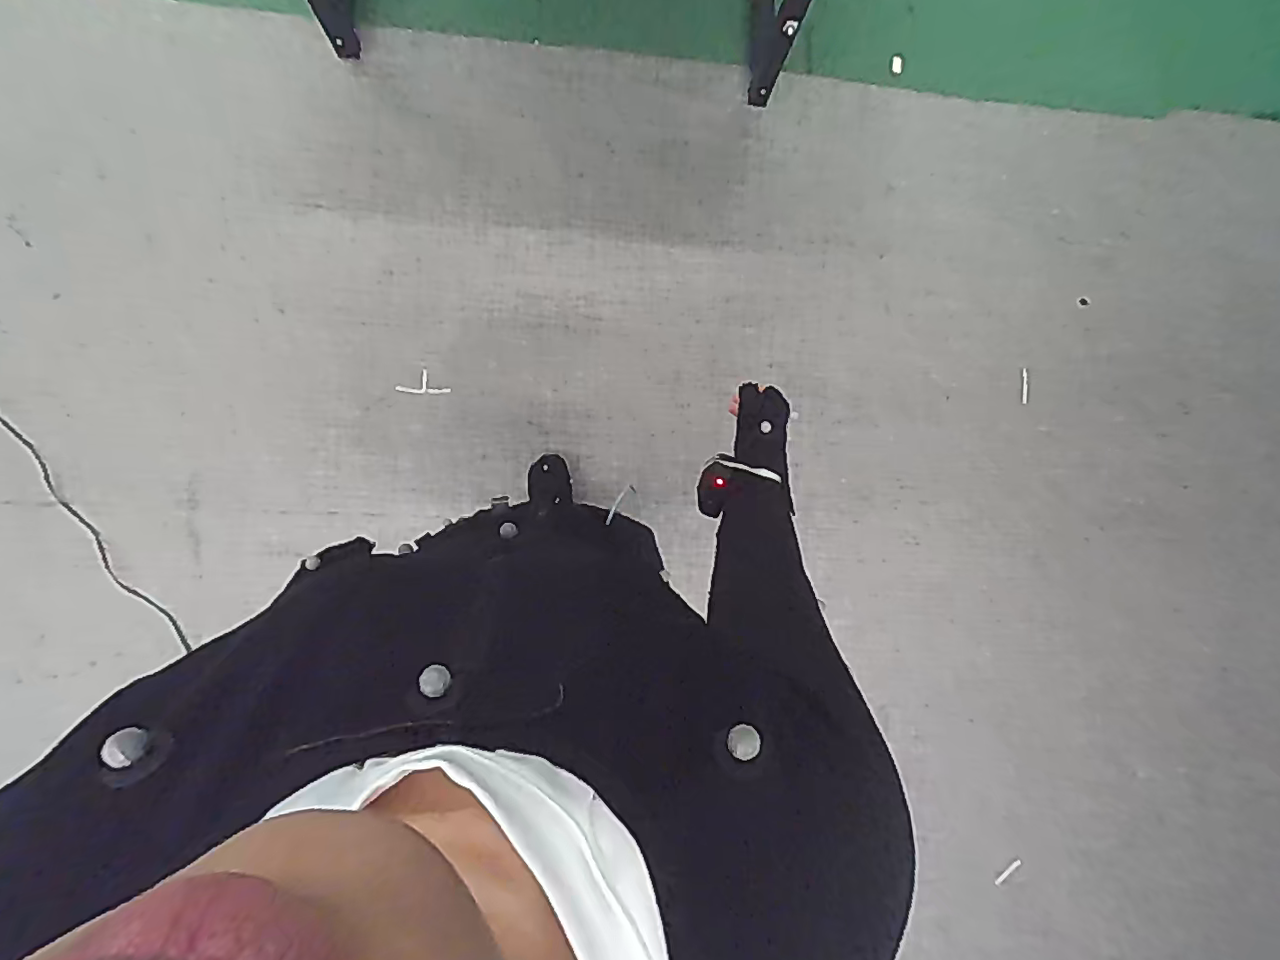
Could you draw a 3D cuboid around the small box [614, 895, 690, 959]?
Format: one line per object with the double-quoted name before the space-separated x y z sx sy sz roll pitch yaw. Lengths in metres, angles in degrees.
"small box" 0.026 1.188 1.353 0.179 0.176 0.168 -3 88 -7
